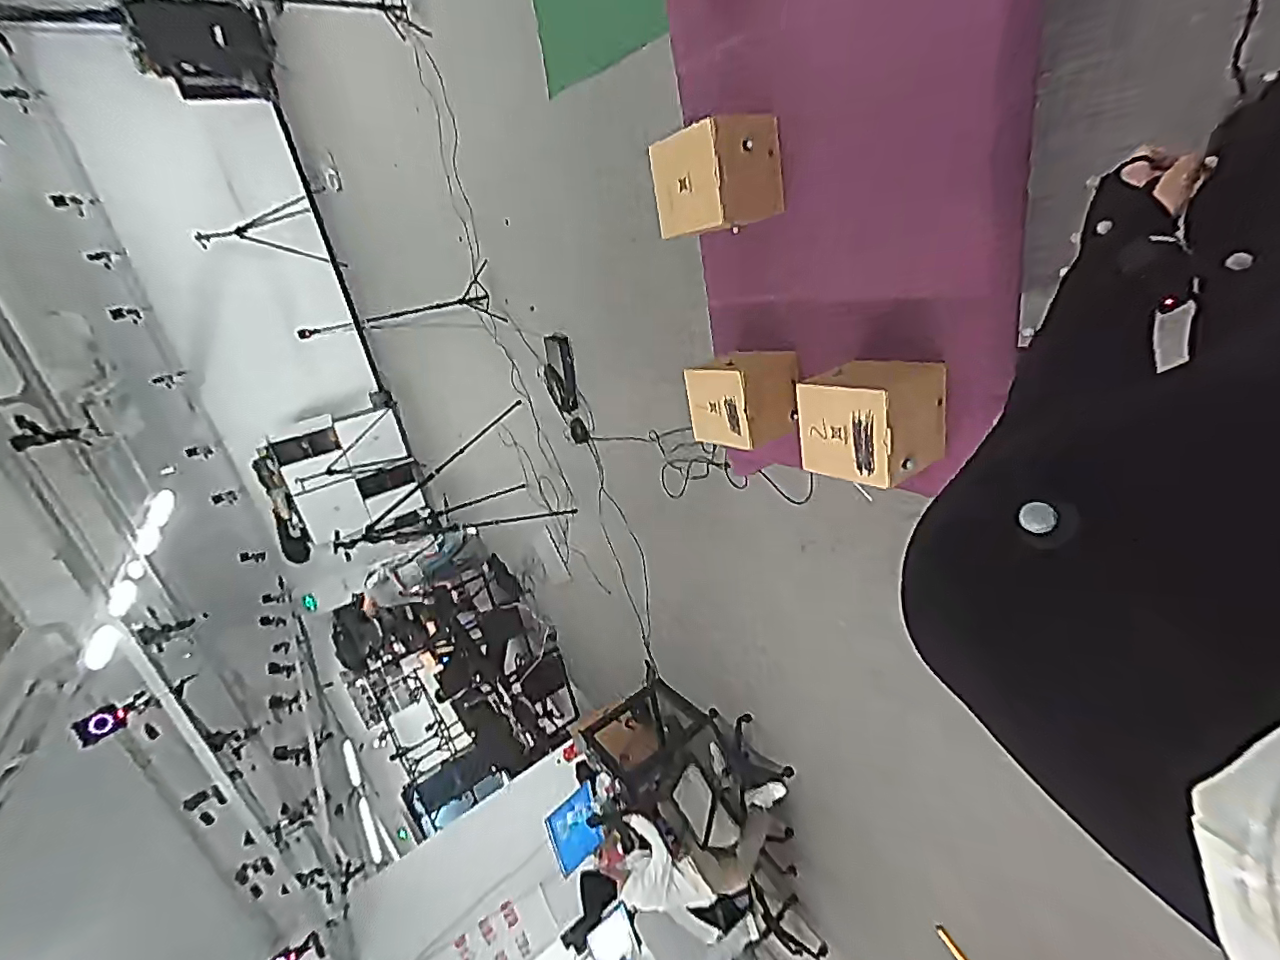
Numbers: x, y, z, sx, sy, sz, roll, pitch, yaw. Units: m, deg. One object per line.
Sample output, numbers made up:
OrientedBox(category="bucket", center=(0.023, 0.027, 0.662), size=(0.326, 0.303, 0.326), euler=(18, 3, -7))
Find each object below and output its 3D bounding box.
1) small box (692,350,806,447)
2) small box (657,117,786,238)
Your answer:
OrientedBox(category="small box", center=(0.243, -0.184, 1.177), size=(0.179, 0.176, 0.168), euler=(17, 125, 54))
OrientedBox(category="small box", center=(0.162, -0.572, 1.029), size=(0.179, 0.176, 0.168), euler=(19, 126, 53))
